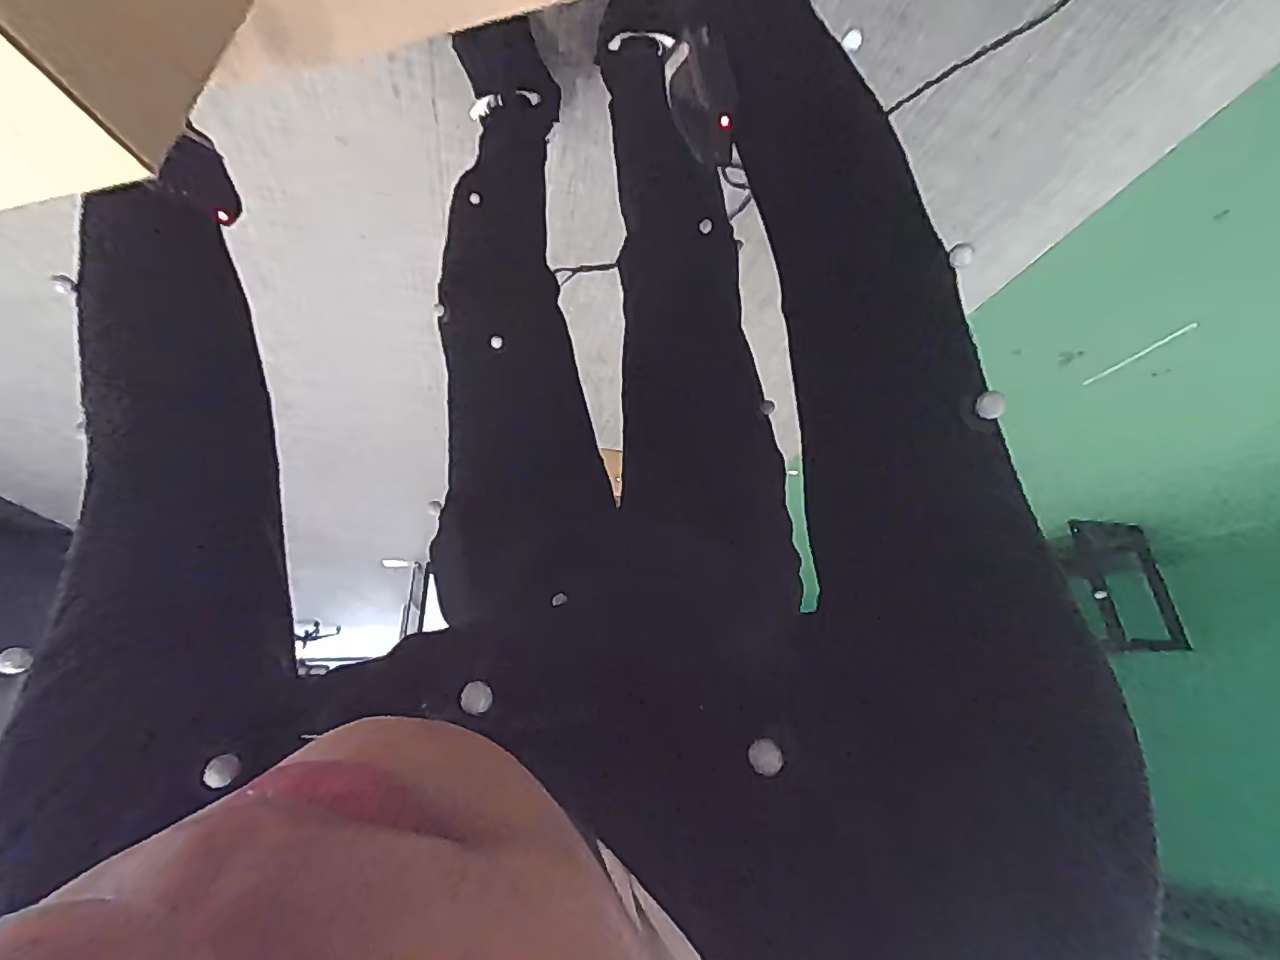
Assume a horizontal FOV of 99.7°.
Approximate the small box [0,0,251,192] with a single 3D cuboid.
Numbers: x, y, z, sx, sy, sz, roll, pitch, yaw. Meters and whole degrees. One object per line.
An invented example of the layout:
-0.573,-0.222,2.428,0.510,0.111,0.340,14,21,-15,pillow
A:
-0.289,-0.234,0.193,0.168,0.176,0.179,-6,154,9,small box
